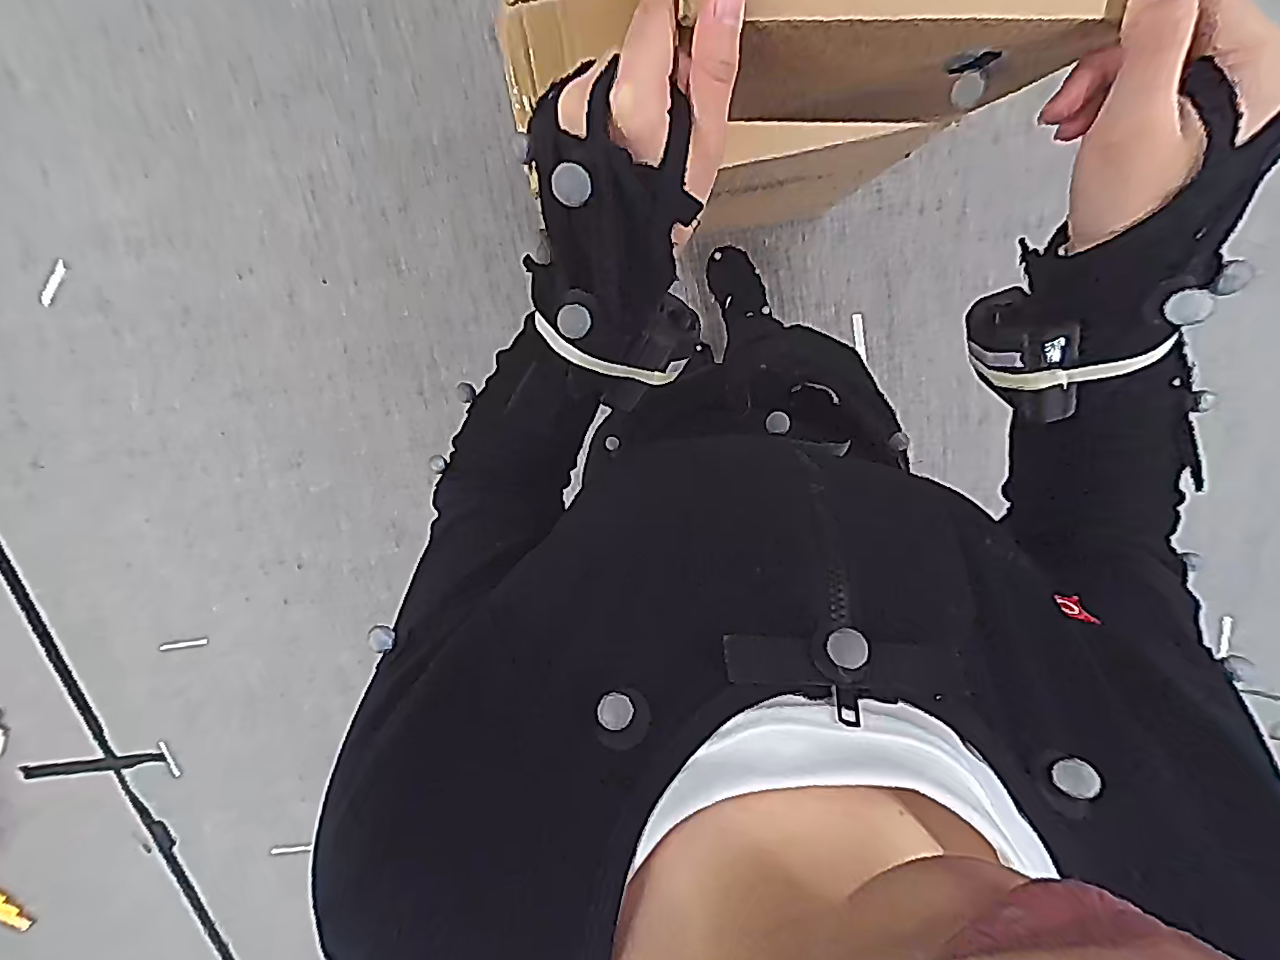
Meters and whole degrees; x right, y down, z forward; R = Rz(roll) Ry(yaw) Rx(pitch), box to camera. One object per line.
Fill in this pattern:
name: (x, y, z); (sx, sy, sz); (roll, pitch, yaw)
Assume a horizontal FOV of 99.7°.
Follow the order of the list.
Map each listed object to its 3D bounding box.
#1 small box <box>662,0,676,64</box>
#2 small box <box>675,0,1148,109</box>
small box: (0.103, -0.532, 0.512); (0.179, 0.176, 0.168); (-7, 106, 4)
small box: (0.107, -0.282, 0.238); (0.179, 0.176, 0.168); (2, 112, 3)
